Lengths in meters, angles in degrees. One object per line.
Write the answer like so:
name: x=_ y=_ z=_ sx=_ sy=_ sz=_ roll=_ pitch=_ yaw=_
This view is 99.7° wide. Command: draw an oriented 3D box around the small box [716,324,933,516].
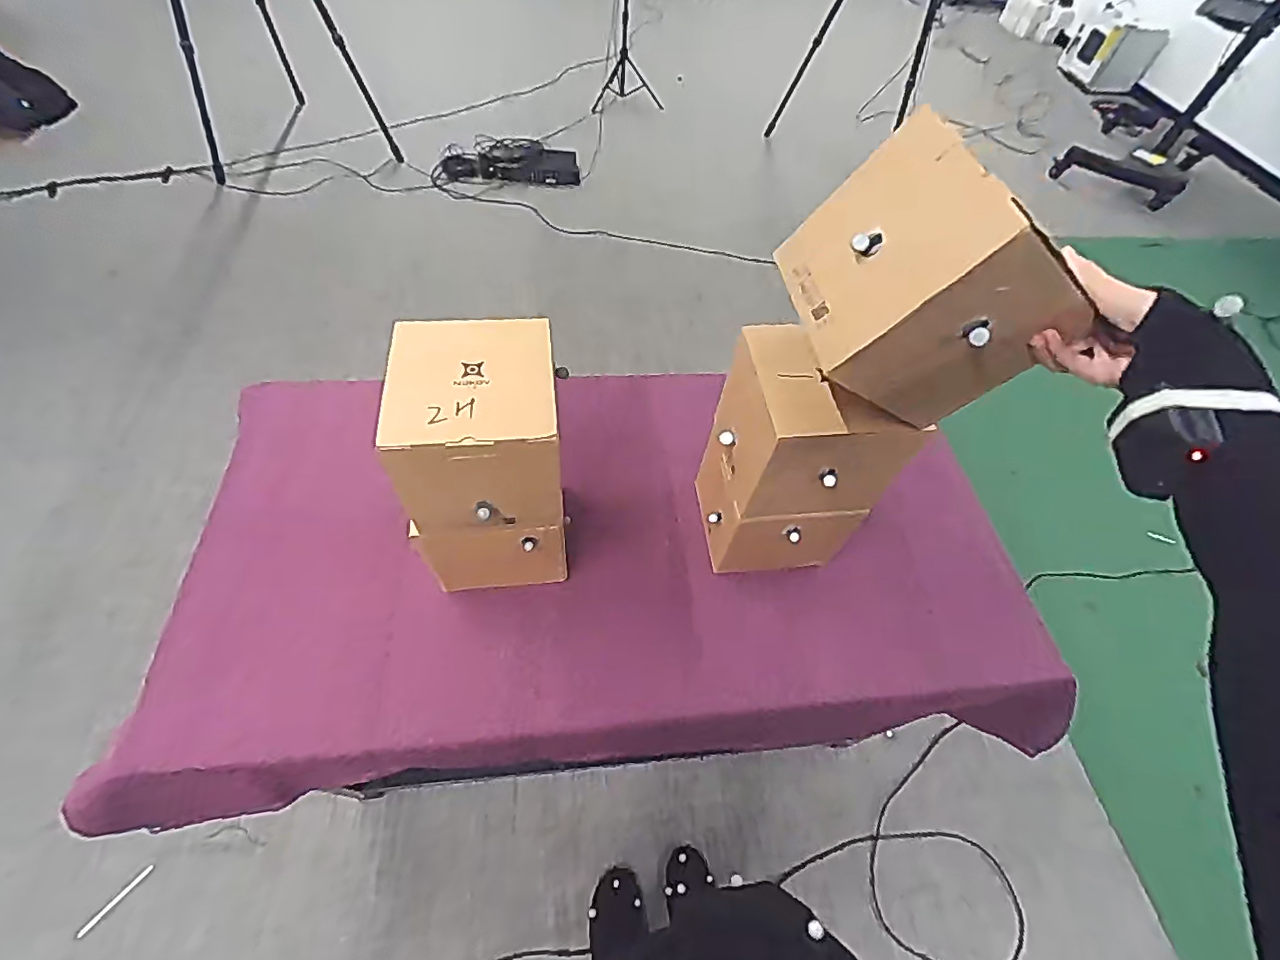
small box: x=0.205 y=-0.069 z=0.658 sx=0.179 sy=0.176 sz=0.168 roll=-4 pitch=57 yaw=-7

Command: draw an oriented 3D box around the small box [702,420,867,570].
small box: x=0.194 y=0.023 z=0.793 sx=0.179 sy=0.176 sz=0.168 roll=-3 pitch=57 yaw=-7

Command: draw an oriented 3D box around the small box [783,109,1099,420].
small box: x=0.254 y=-0.178 z=0.496 sx=0.179 sy=0.176 sz=0.168 roll=14 pitch=51 yaw=-34

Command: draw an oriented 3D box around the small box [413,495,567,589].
small box: x=-0.196 y=0.041 z=0.749 sx=0.179 sy=0.176 sz=0.168 roll=-4 pitch=56 yaw=-9

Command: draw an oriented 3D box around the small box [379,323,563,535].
small box: x=-0.176 y=-0.056 z=0.617 sx=0.168 sy=0.176 sz=0.179 roll=-4 pitch=56 yaw=-8
